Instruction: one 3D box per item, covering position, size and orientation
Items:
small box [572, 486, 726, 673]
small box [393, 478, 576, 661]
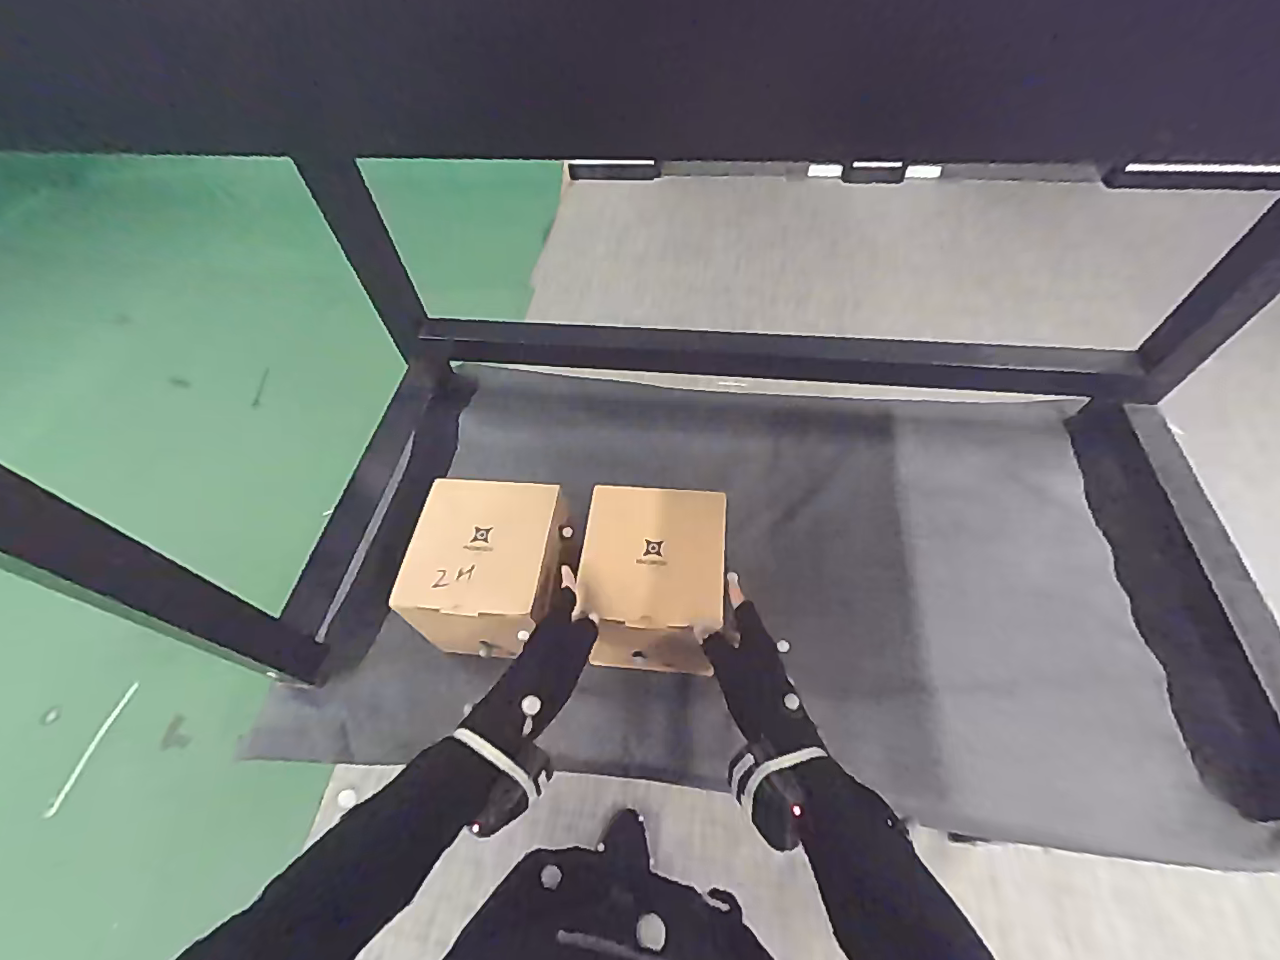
[{"bbox_3d":[0.019,0.129,0.692,0.168,0.176,0.179,3,55,7],"label":"small box"},{"bbox_3d":[-0.184,0.119,0.708,0.168,0.176,0.179,3,55,6],"label":"small box"}]
